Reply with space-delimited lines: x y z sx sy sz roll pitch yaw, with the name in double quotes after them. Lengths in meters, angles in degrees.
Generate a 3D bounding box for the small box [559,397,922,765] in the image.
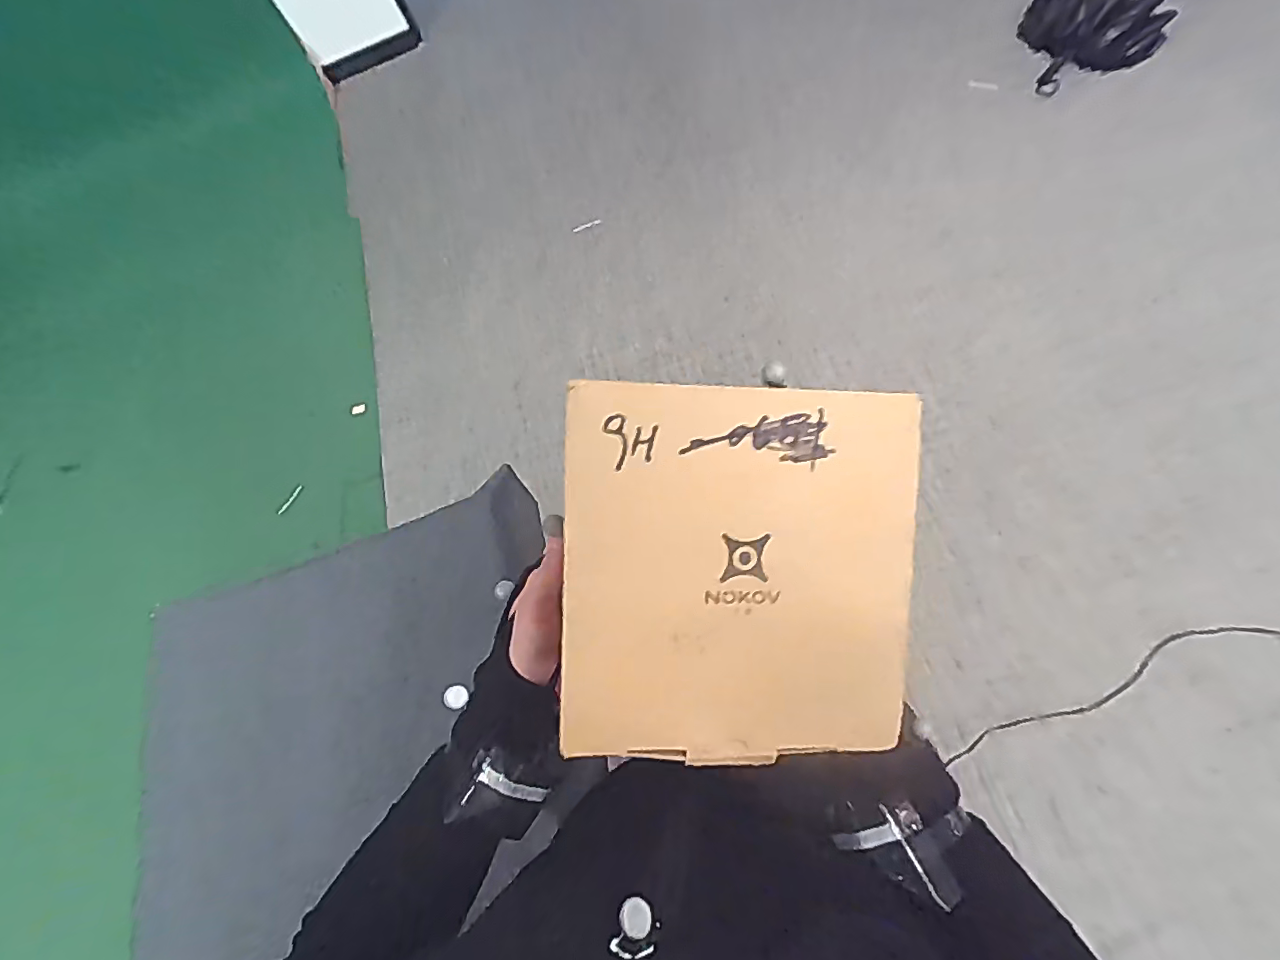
0.039 0.042 0.332 0.168 0.176 0.179 1 96 -6 "small box"
